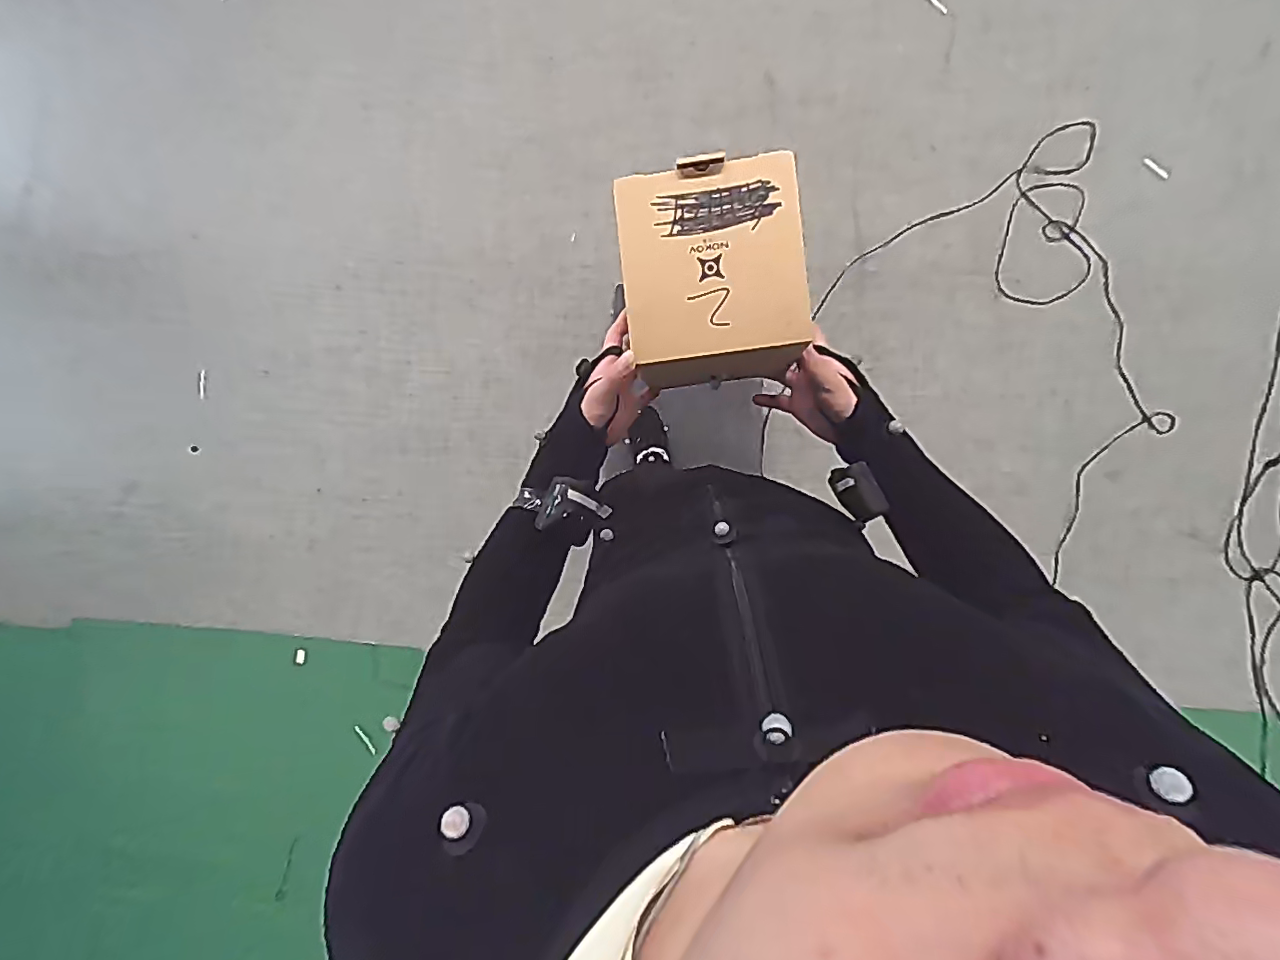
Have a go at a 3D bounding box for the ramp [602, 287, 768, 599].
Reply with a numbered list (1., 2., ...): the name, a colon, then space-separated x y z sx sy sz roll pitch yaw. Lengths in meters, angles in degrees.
1. ramp: 0.148 -0.146 1.694 0.509 0.206 0.991 0 90 6
